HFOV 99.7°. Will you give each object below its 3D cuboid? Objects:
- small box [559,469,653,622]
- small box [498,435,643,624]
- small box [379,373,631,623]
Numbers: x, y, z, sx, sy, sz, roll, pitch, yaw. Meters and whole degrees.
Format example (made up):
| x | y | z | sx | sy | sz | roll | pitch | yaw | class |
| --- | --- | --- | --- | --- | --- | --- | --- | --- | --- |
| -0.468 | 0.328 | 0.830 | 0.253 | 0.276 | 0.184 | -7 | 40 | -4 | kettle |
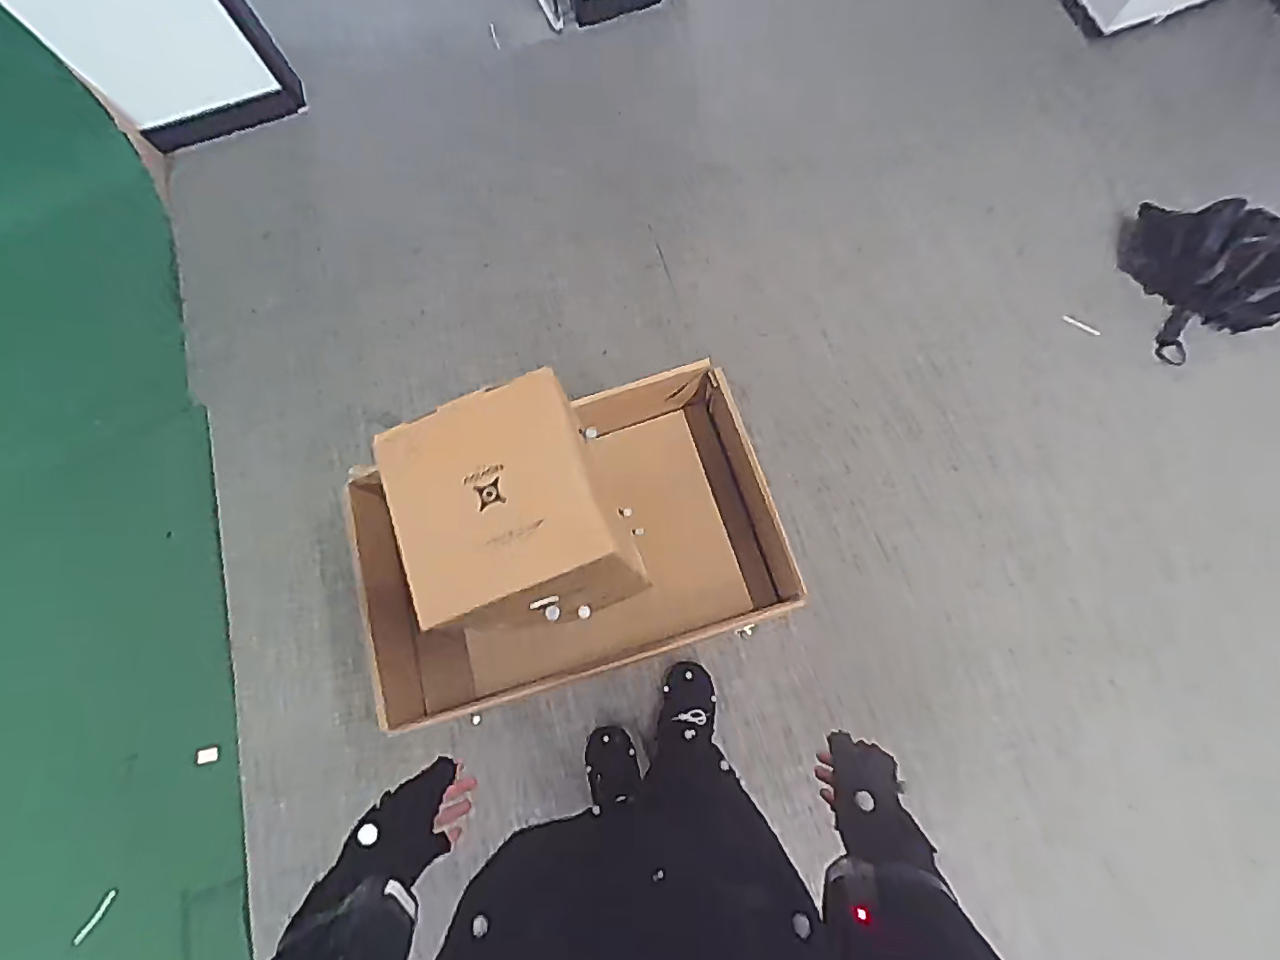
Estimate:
| x | y | z | sx | sy | sz | roll | pitch | yaw | class |
| --- | --- | --- | --- | --- | --- | --- | --- | --- | --- |
| -0.088 | 0.110 | 0.843 | 0.168 | 0.176 | 0.179 | -23 | 73 | 0 | small box |
| -0.103 | 0.072 | 0.684 | 0.168 | 0.176 | 0.179 | -22 | 75 | -1 | small box |
| -0.118 | 0.030 | 0.528 | 0.168 | 0.176 | 0.179 | -22 | 74 | 0 | small box |
